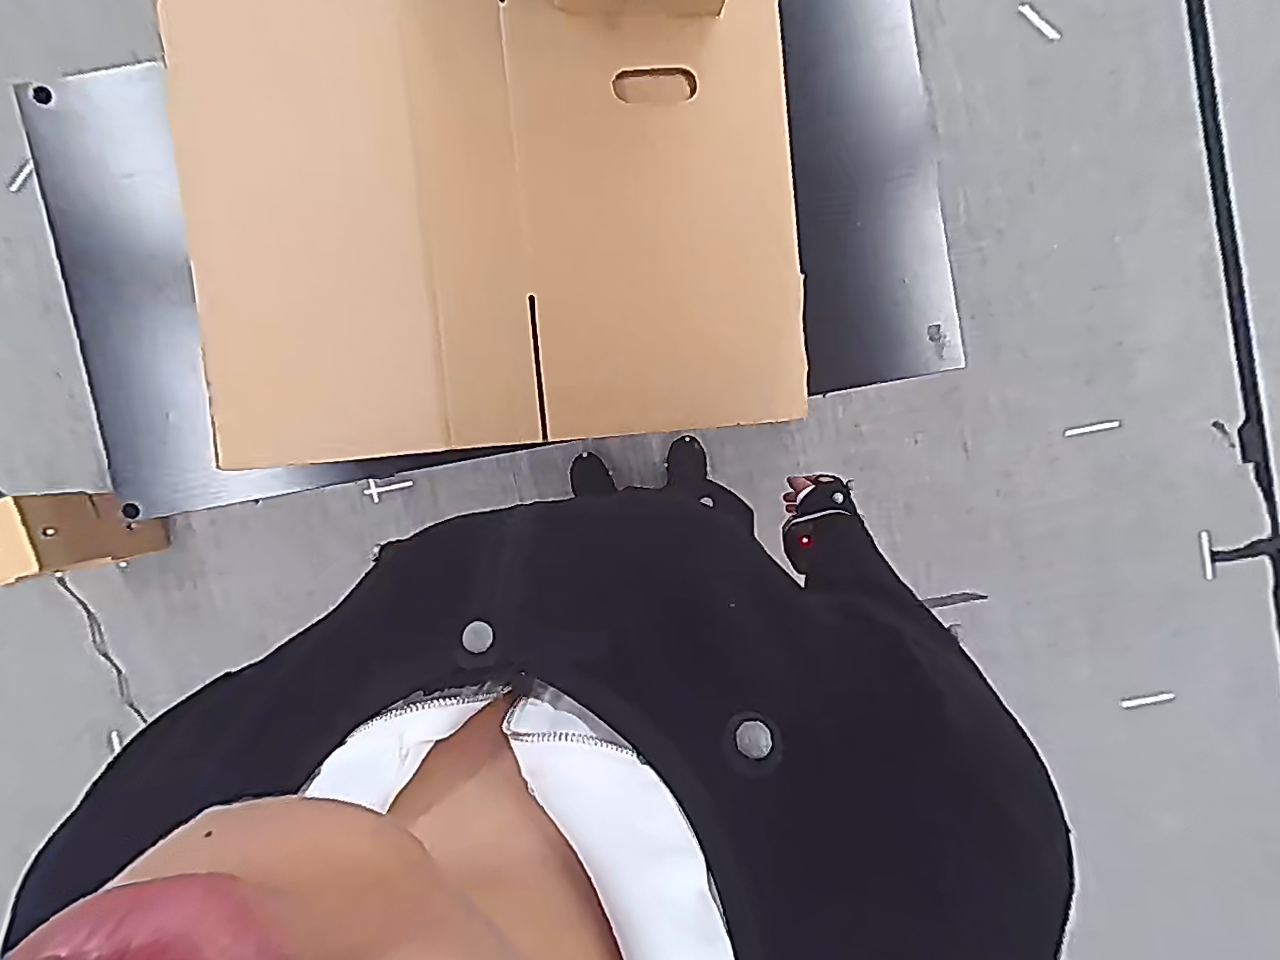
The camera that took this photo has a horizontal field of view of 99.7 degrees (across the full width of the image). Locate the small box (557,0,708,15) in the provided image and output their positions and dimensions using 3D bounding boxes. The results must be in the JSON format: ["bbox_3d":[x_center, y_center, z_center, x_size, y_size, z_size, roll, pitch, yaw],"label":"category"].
[{"bbox_3d":[0.002,-0.571,0.491,0.179,0.176,0.168,-4,91,-6],"label":"small box"}]

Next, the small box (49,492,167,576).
[{"bbox_3d":[-1.398,0.132,1.405,0.168,0.176,0.179,-15,94,0],"label":"small box"}]

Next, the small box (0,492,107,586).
[{"bbox_3d":[-1.397,0.134,1.242,0.168,0.176,0.179,-17,92,0],"label":"small box"}]
